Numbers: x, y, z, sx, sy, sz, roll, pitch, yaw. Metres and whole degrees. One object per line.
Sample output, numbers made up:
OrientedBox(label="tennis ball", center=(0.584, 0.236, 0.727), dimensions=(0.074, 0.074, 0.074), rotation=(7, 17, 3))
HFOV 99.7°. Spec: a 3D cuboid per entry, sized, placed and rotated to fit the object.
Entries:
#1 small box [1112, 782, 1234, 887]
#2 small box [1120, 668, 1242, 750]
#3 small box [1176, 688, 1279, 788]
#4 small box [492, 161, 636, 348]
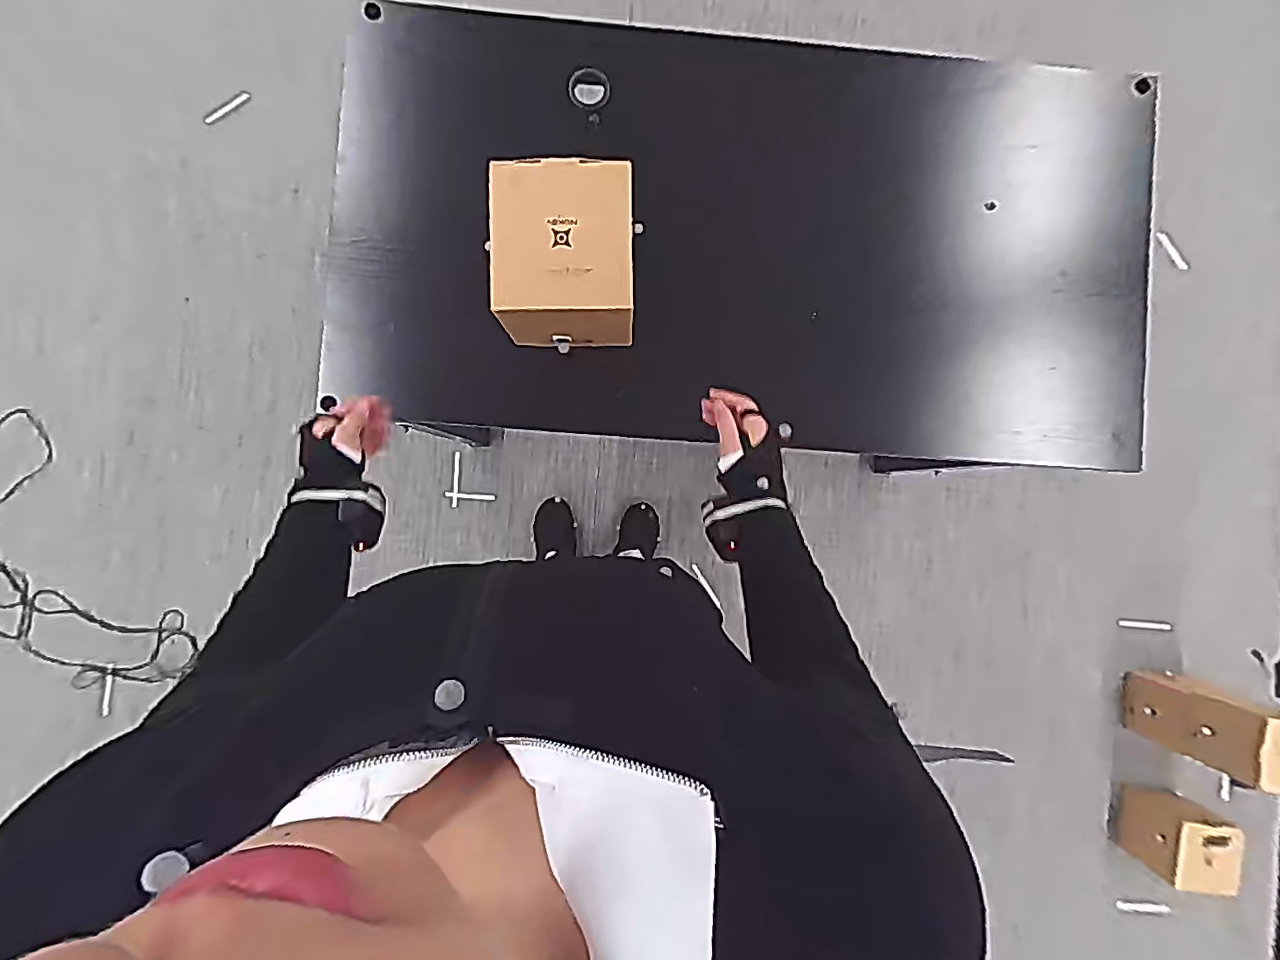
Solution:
OrientedBox(label="small box", center=(1.443, 0.957, 1.474), dimensions=(0.168, 0.176, 0.179), rotation=(7, 90, -2))
OrientedBox(label="small box", center=(1.467, 0.623, 1.477), dimensions=(0.179, 0.176, 0.168), rotation=(4, 89, -1))
OrientedBox(label="small box", center=(1.477, 0.622, 1.312), dimensions=(0.179, 0.176, 0.168), rotation=(9, 88, -2))
OrientedBox(label="small box", center=(-0.091, -0.281, 0.703), dimensions=(0.168, 0.176, 0.179), rotation=(-2, 90, -1))
